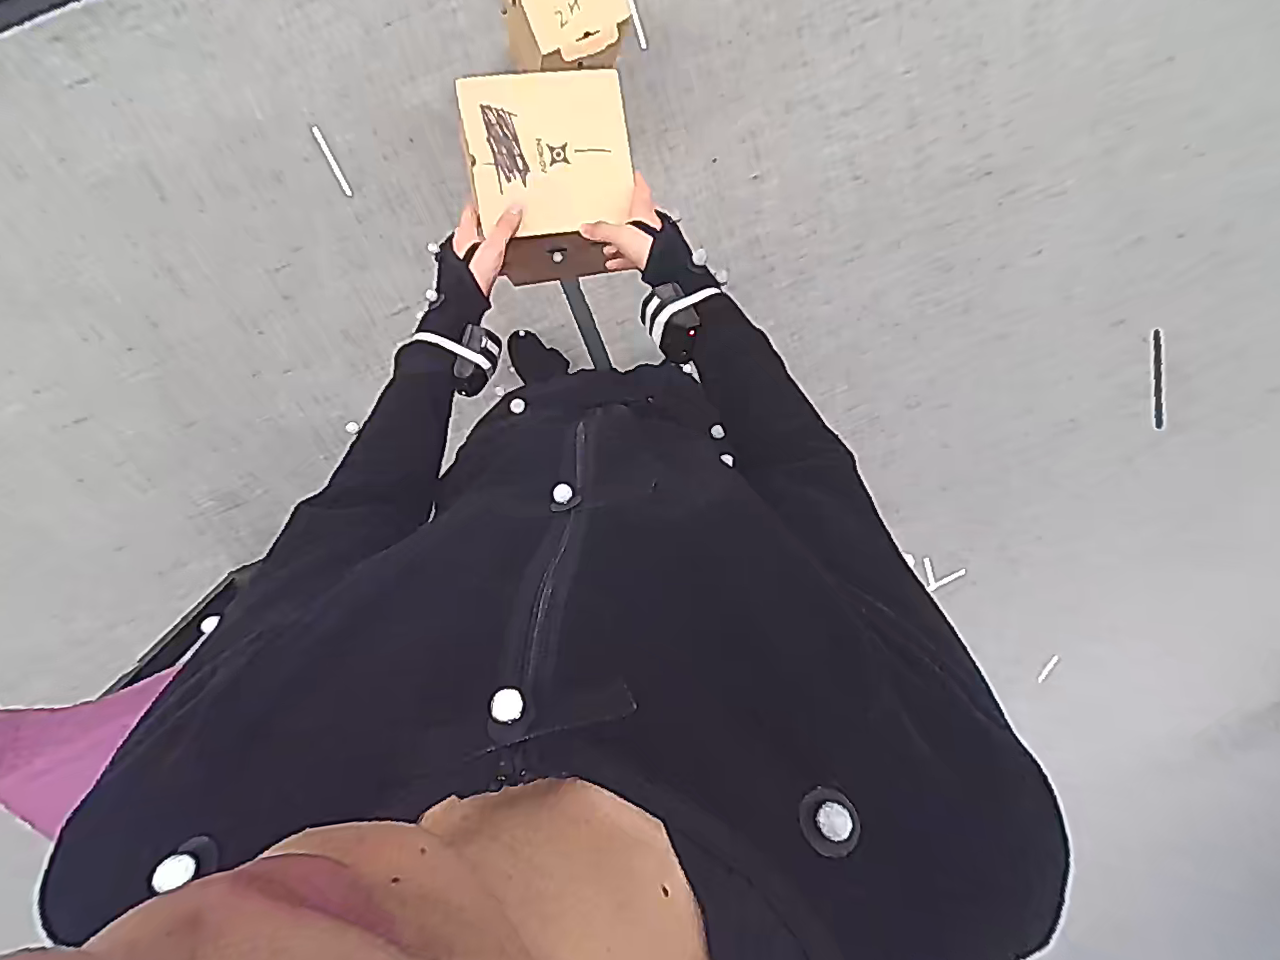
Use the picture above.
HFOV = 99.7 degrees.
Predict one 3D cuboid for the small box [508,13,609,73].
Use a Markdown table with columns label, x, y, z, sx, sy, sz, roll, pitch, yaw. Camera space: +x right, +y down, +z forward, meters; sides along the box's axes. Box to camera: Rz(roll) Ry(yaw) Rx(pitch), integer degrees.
| label | x | y | z | sx | sy | sz | roll | pitch | yaw |
| --- | --- | --- | --- | --- | --- | --- | --- | --- | --- |
| small box | -0.179 | -0.953 | 1.219 | 0.168 | 0.176 | 0.179 | -28 | 112 | 0 |

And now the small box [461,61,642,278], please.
| label | x | y | z | sx | sy | sz | roll | pitch | yaw |
| --- | --- | --- | --- | --- | --- | --- | --- | --- | --- |
| small box | -0.096 | -0.360 | 0.659 | 0.179 | 0.176 | 0.168 | -9 | 96 | -2 |

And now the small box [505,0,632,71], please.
| label | x | y | z | sx | sy | sz | roll | pitch | yaw |
| --- | --- | --- | --- | --- | --- | --- | --- | --- | --- |
| small box | -0.134 | -0.825 | 0.916 | 0.168 | 0.176 | 0.179 | -25 | 113 | -2 |
